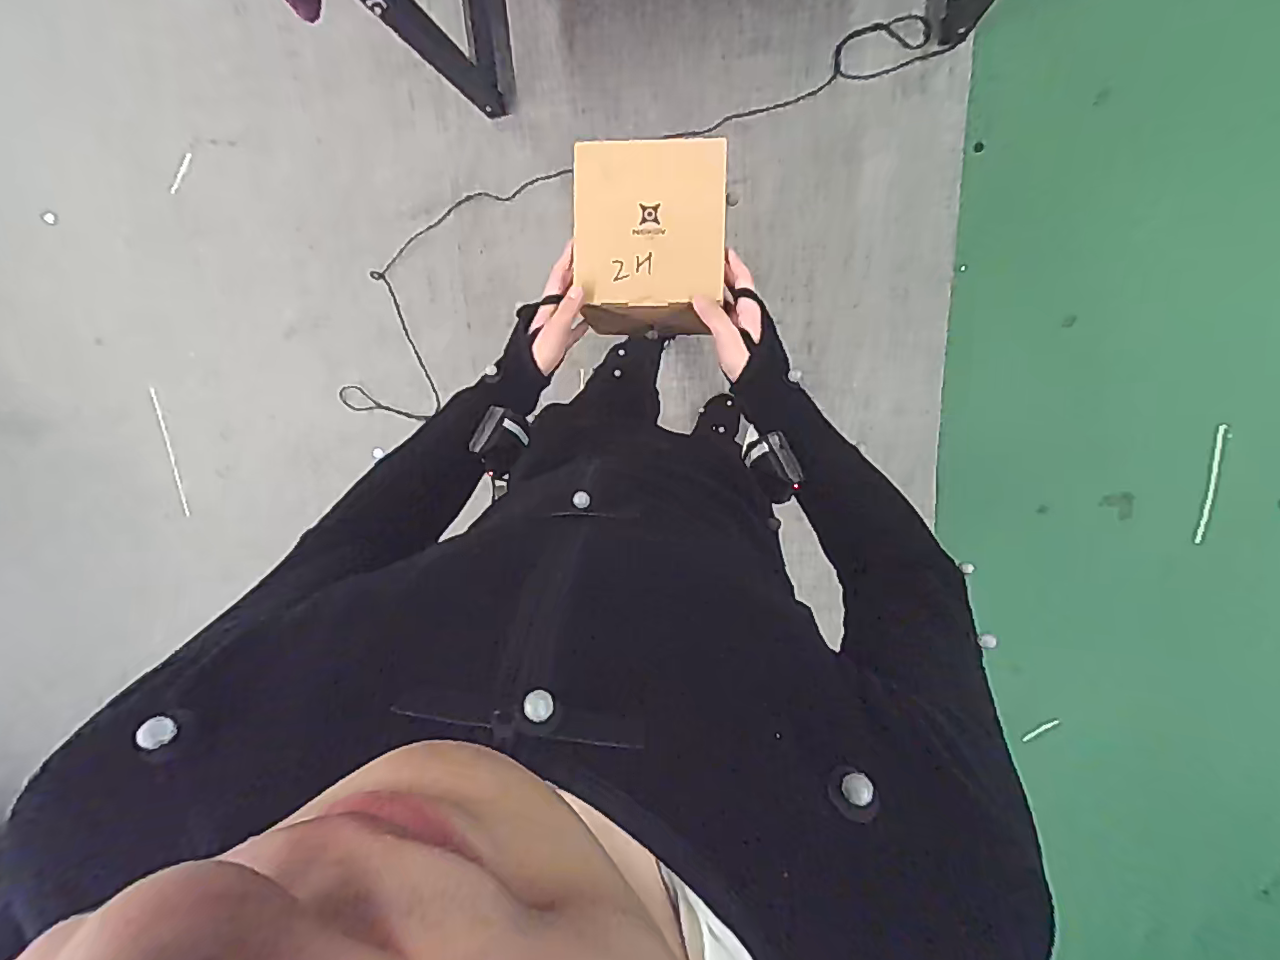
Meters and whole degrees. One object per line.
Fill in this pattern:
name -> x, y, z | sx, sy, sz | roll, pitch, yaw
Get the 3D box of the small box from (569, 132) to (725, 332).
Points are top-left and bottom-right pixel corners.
small box -> 0.011, -0.287, 0.658 | 0.168, 0.176, 0.179 | 1, 94, 4
